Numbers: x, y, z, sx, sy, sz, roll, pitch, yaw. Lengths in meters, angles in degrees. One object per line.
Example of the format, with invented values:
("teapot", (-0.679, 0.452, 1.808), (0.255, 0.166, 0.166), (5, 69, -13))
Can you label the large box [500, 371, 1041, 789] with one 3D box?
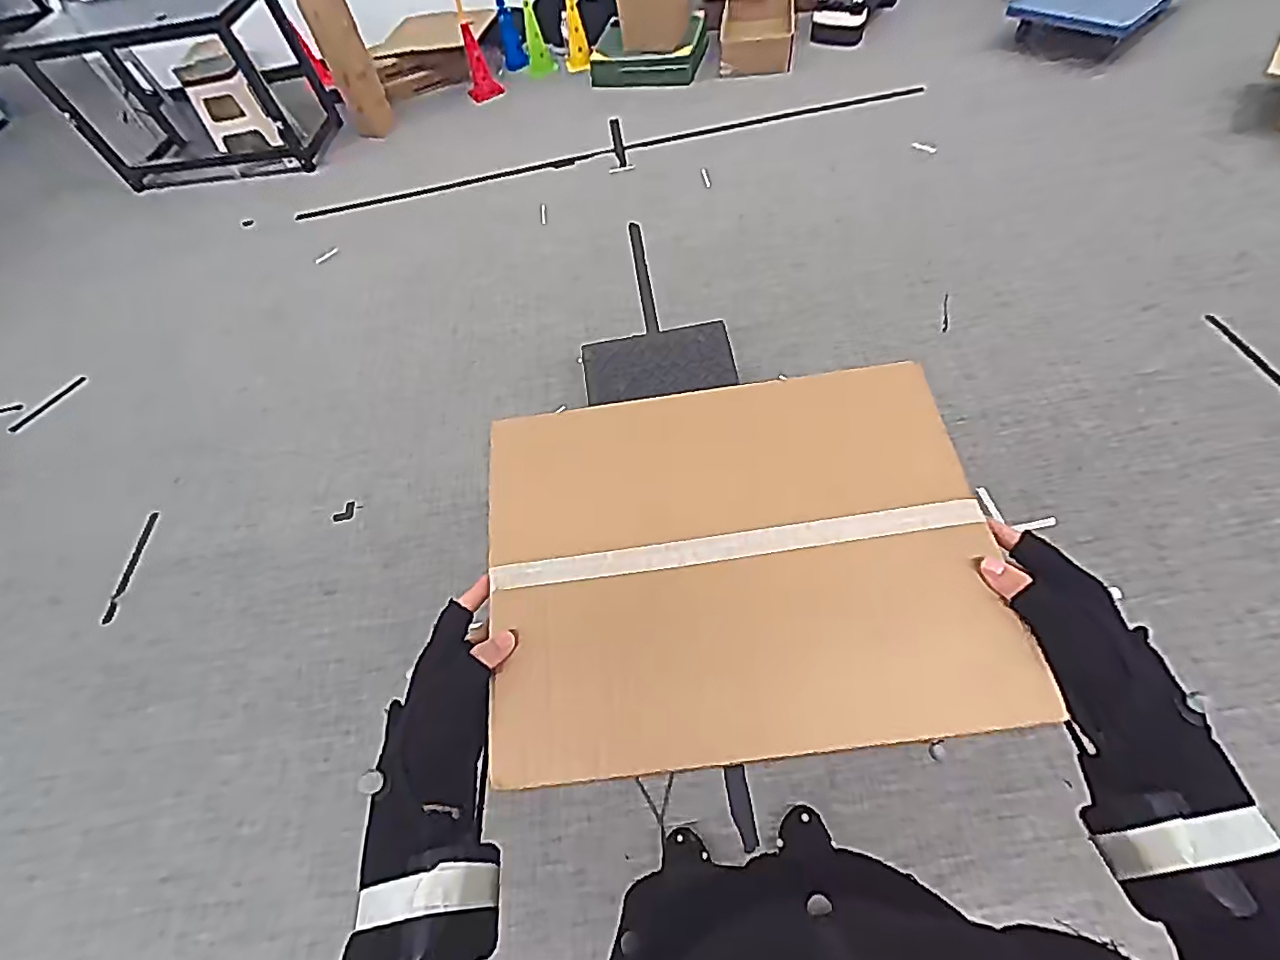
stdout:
("large box", (0.093, 0.123, 0.592), (0.408, 0.320, 0.320), (-8, 63, 2))
